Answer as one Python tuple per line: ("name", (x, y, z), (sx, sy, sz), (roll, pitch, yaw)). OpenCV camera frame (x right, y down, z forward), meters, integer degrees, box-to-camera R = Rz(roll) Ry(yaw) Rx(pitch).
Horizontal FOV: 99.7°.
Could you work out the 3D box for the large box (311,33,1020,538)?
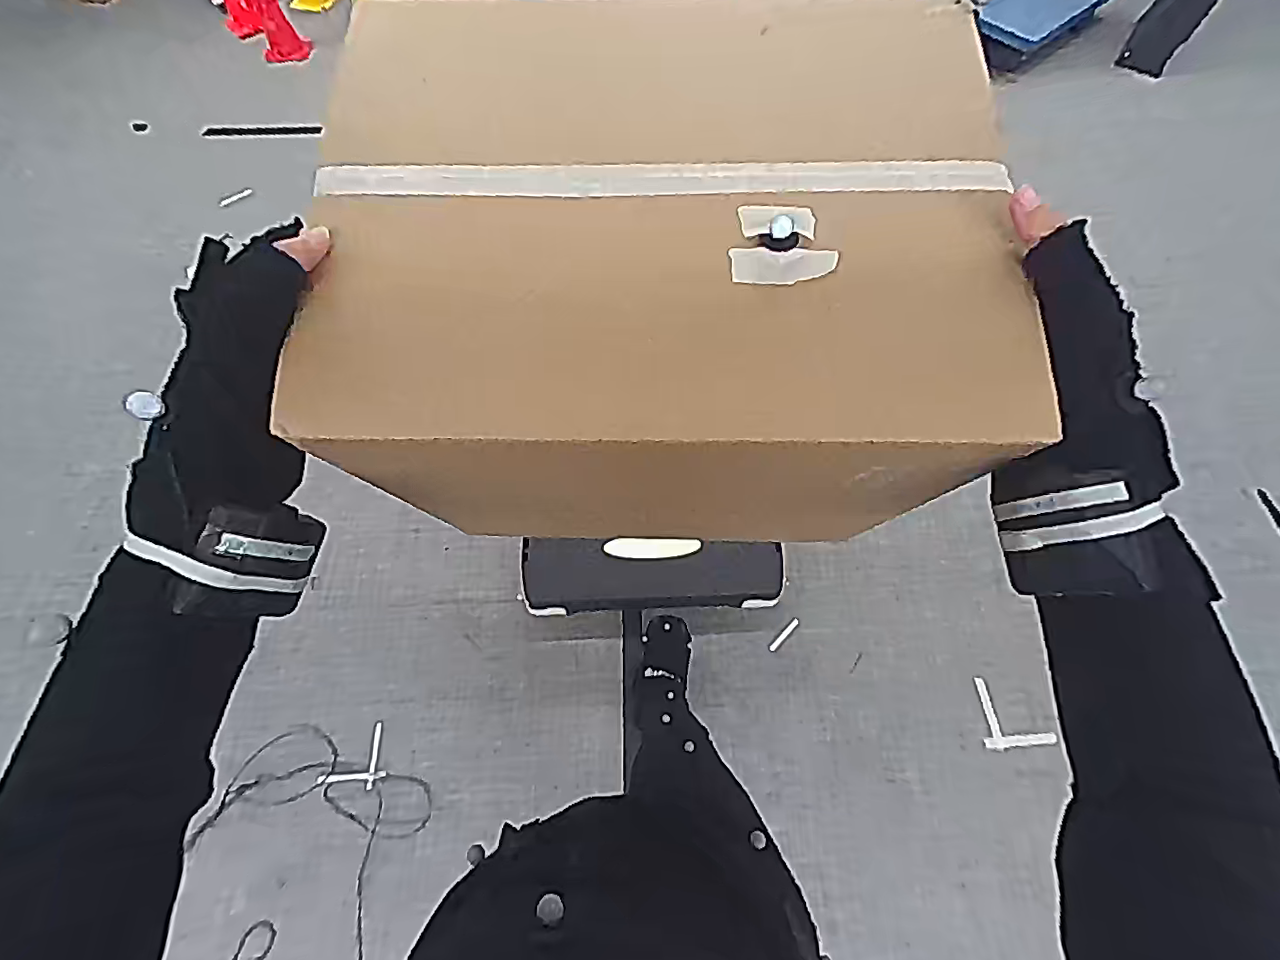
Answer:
("large box", (0.014, -0.128, 0.484), (0.408, 0.320, 0.320), (1, 74, 1))
